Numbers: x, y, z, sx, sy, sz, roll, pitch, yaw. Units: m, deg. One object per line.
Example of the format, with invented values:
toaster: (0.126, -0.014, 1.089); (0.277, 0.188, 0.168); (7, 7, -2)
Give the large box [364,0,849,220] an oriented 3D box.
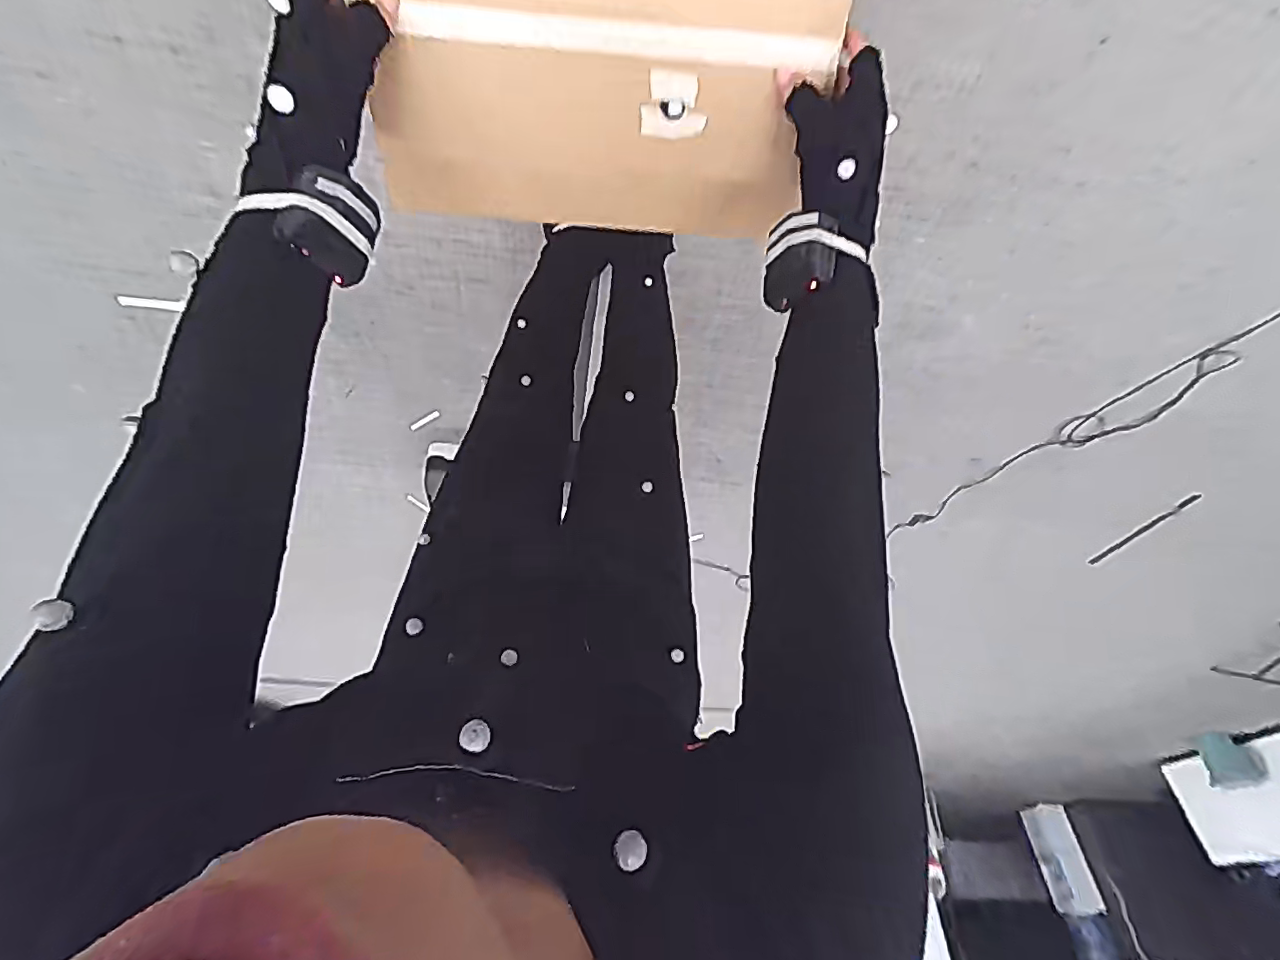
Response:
large box: (-0.031, -0.490, 0.552); (0.408, 0.320, 0.320); (2, 137, -3)
